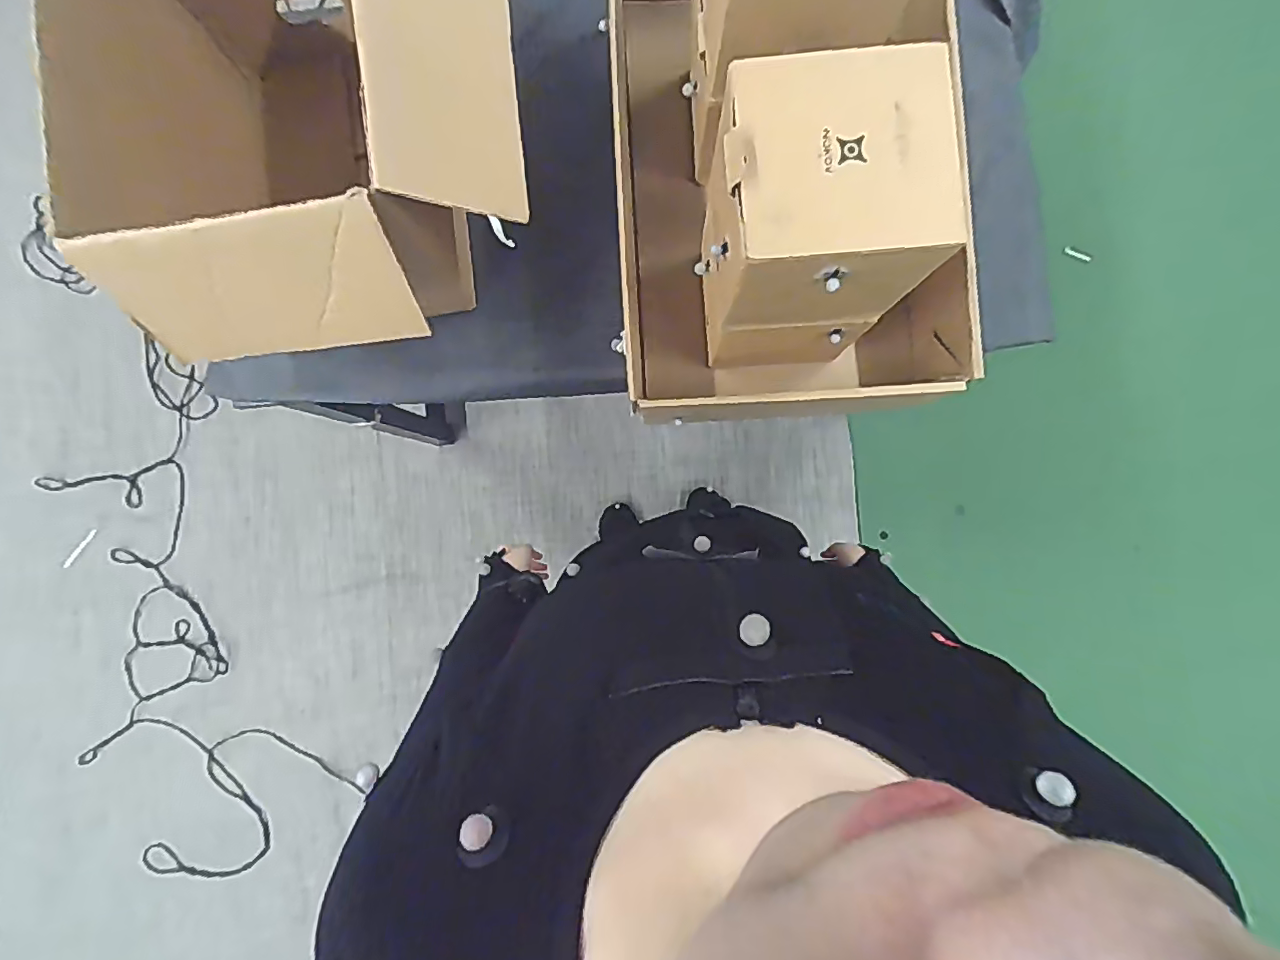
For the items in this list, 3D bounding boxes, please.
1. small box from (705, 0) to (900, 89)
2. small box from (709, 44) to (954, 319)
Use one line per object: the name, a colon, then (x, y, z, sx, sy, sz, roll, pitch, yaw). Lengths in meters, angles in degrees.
small box: (0.152, -0.515, 0.517, 0.168, 0.176, 0.179, -2, 91, 1)
small box: (0.161, -0.262, 0.514, 0.179, 0.176, 0.168, -4, 88, 1)
